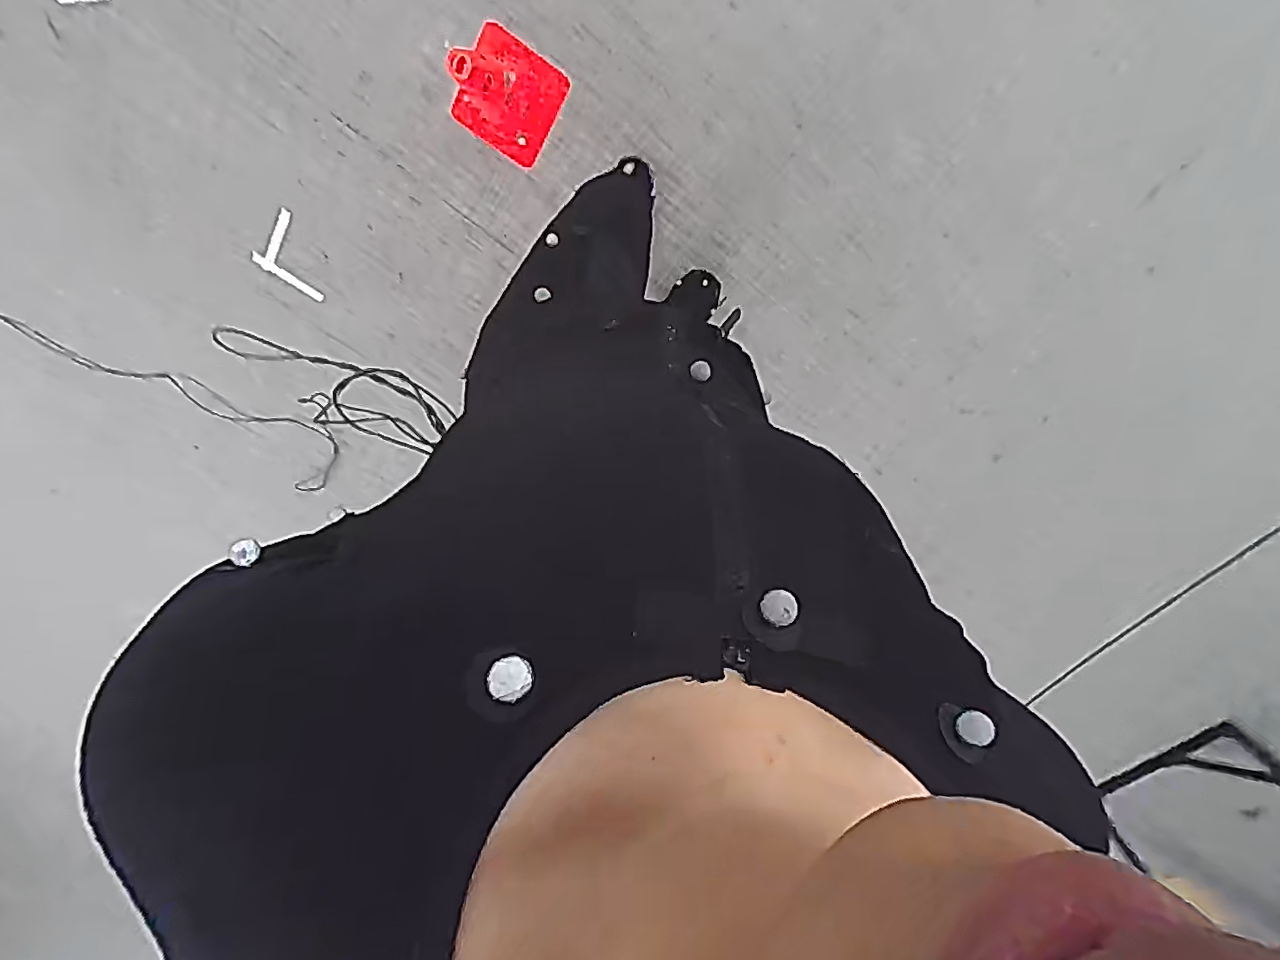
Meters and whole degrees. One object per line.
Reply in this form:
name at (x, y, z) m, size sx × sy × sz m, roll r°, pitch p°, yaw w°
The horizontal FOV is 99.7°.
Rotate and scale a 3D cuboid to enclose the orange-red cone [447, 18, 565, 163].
orange-red cone at (-0.279, -0.729, 0.978) m, size 0.198 × 0.360 × 0.199 m, roll 31°, pitch 113°, yaw -15°
